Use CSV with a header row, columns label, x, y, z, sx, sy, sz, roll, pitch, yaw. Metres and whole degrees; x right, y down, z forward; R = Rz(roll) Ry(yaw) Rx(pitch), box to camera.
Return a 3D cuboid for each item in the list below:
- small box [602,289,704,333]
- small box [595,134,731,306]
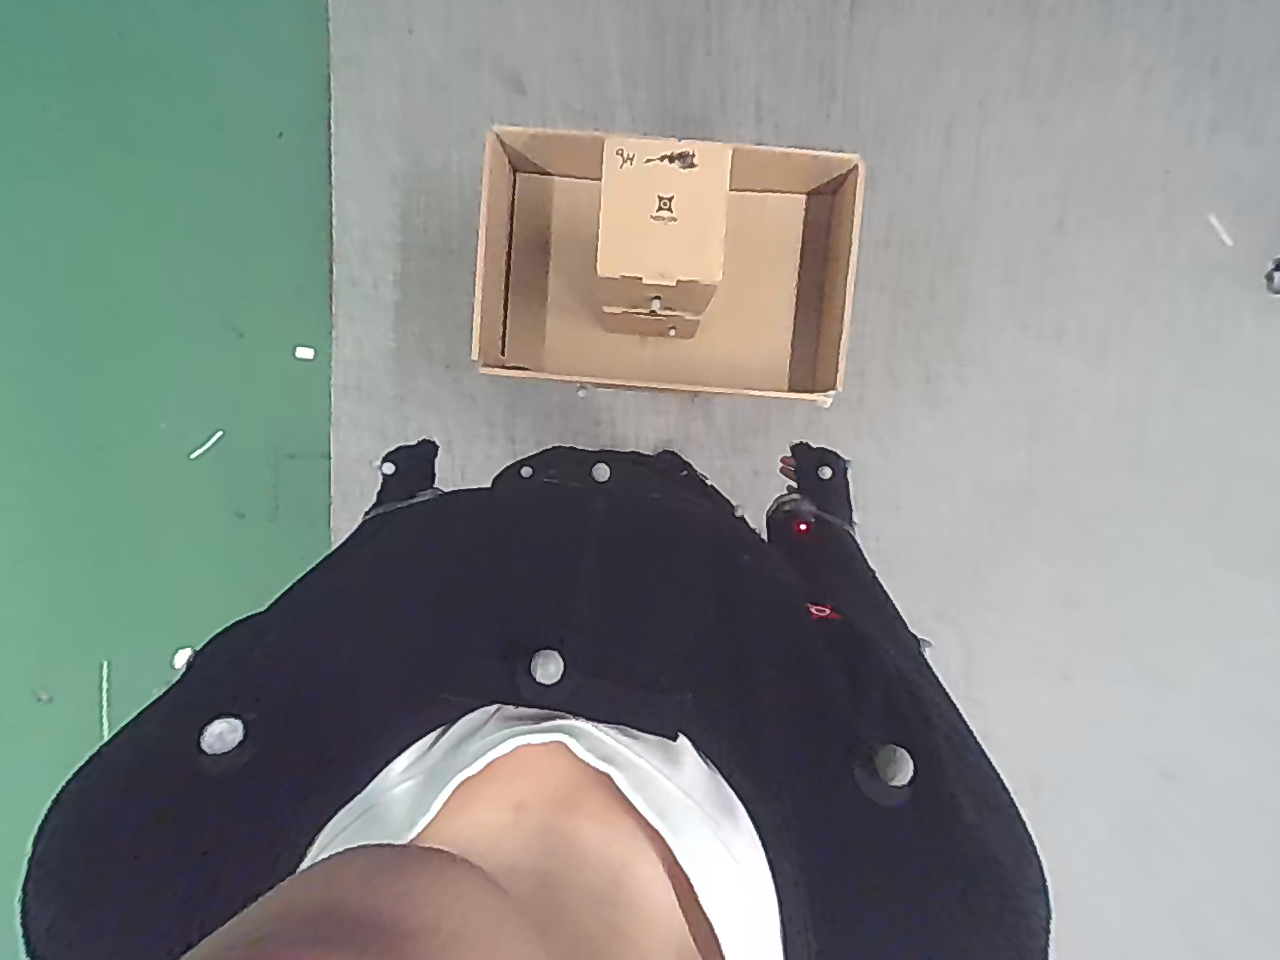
label,x,y,z,sx,sy,sz,roll,pitch,yaw
small box,0.026,-0.362,0.941,0.168,0.176,0.179,3,93,-1
small box,0.029,-0.358,0.777,0.168,0.176,0.179,4,95,-1
